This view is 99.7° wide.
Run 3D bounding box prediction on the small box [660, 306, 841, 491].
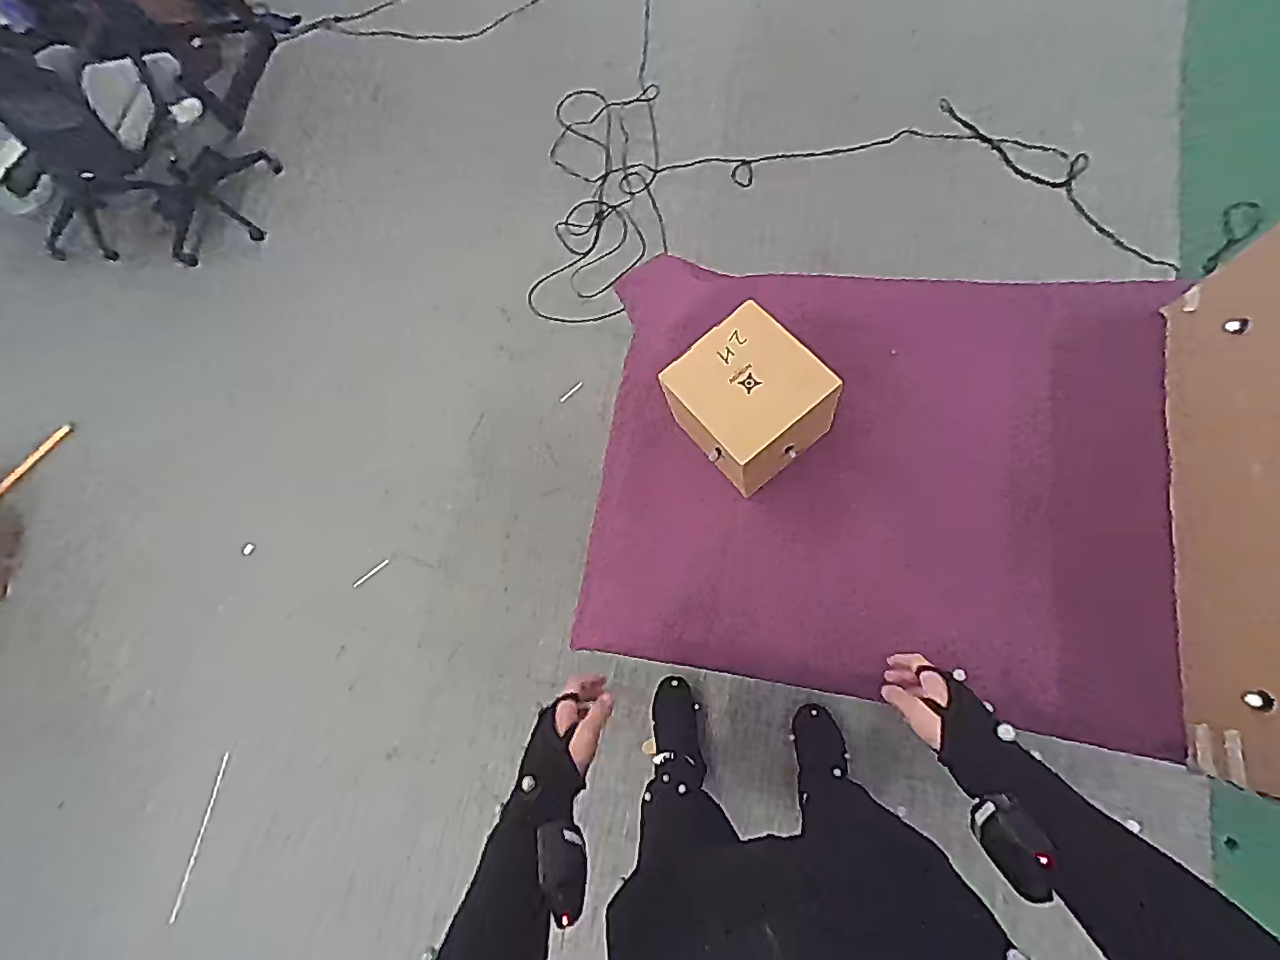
[{"bbox_3d":[0.156,-0.102,0.773,0.168,0.176,0.179,-39,69,-1],"label":"small box"}]
